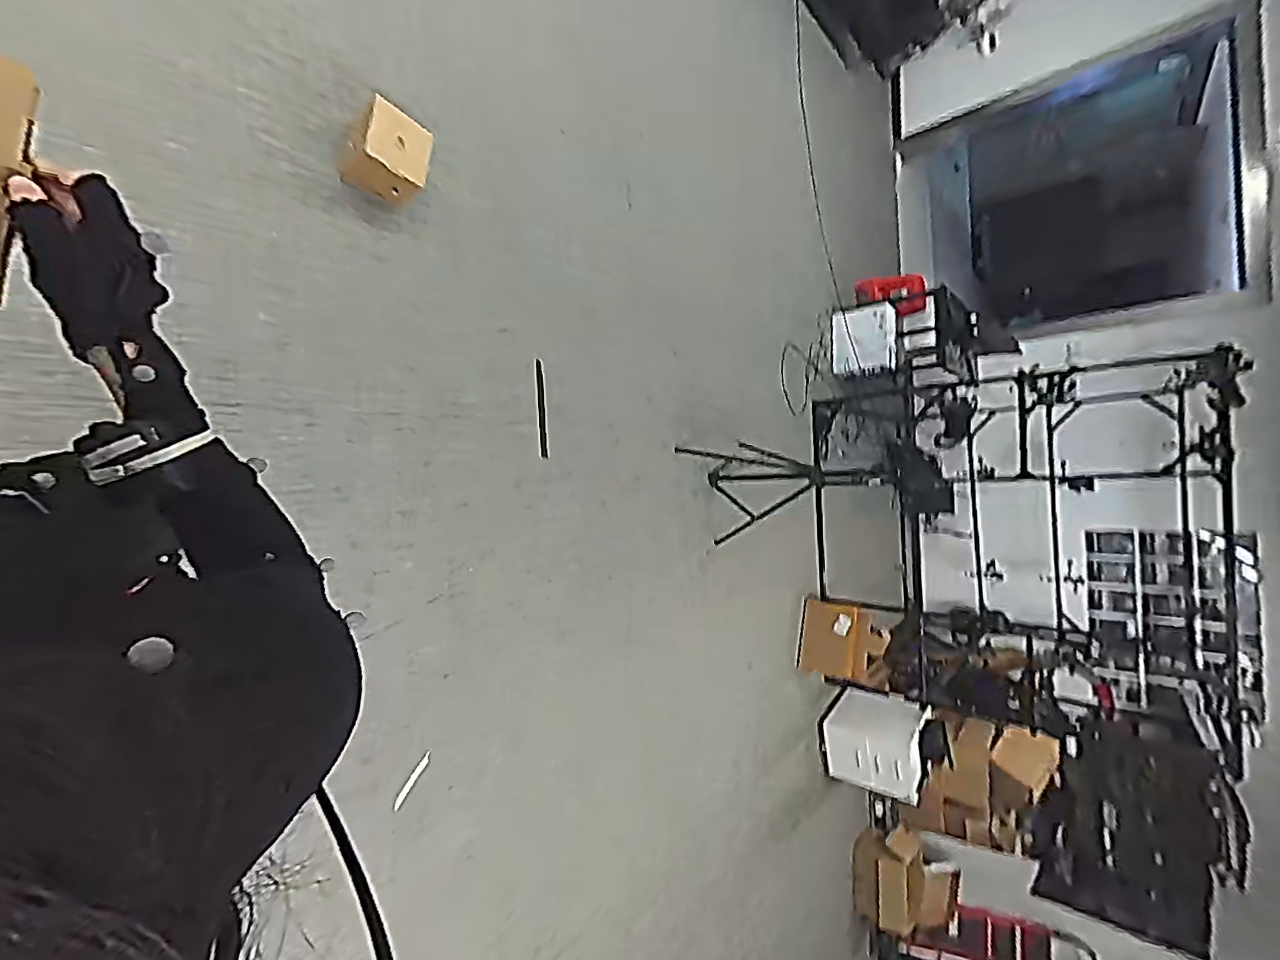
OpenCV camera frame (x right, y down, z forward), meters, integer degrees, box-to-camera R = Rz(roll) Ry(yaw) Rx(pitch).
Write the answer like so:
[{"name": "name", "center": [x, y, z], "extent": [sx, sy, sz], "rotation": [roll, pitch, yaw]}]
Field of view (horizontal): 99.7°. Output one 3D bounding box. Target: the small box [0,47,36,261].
[{"name": "small box", "center": [-0.543, -0.239, 0.345], "extent": [0.179, 0.176, 0.168], "rotation": [9, 100, -56]}]

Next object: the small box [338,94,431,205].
[{"name": "small box", "center": [-0.711, -0.904, 1.500], "extent": [0.168, 0.176, 0.179], "rotation": [18, 74, -50]}]
